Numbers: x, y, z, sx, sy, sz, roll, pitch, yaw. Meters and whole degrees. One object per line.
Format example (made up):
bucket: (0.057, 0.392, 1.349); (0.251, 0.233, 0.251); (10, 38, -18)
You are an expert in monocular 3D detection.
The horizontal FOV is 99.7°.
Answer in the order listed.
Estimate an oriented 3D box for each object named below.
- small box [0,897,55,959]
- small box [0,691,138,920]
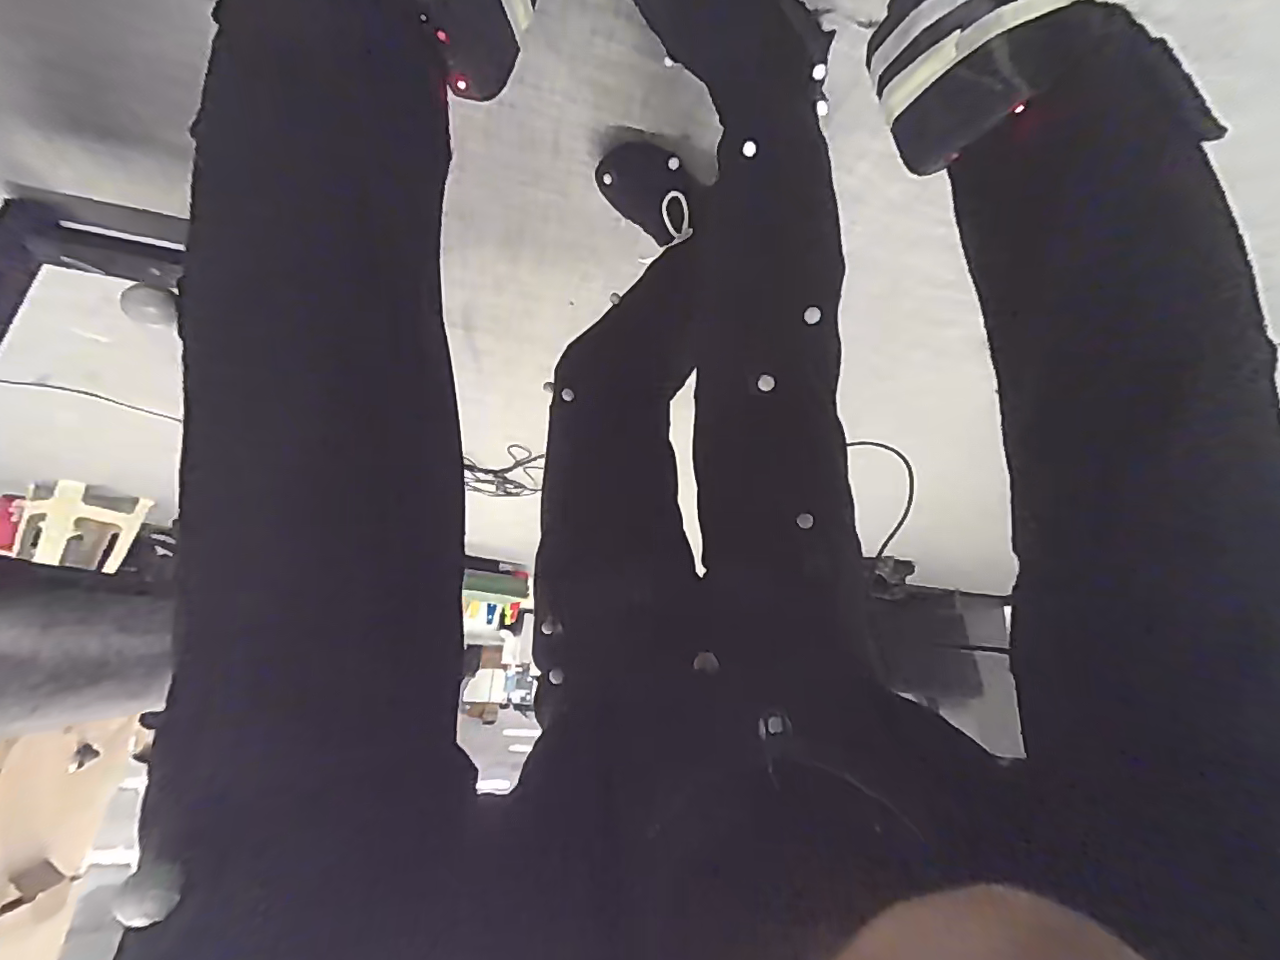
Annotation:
small box: (-0.598, 0.420, 0.393); (0.179, 0.176, 0.168); (6, 159, -10)
small box: (-0.594, 0.269, 0.455); (0.179, 0.176, 0.168); (7, 159, -11)
